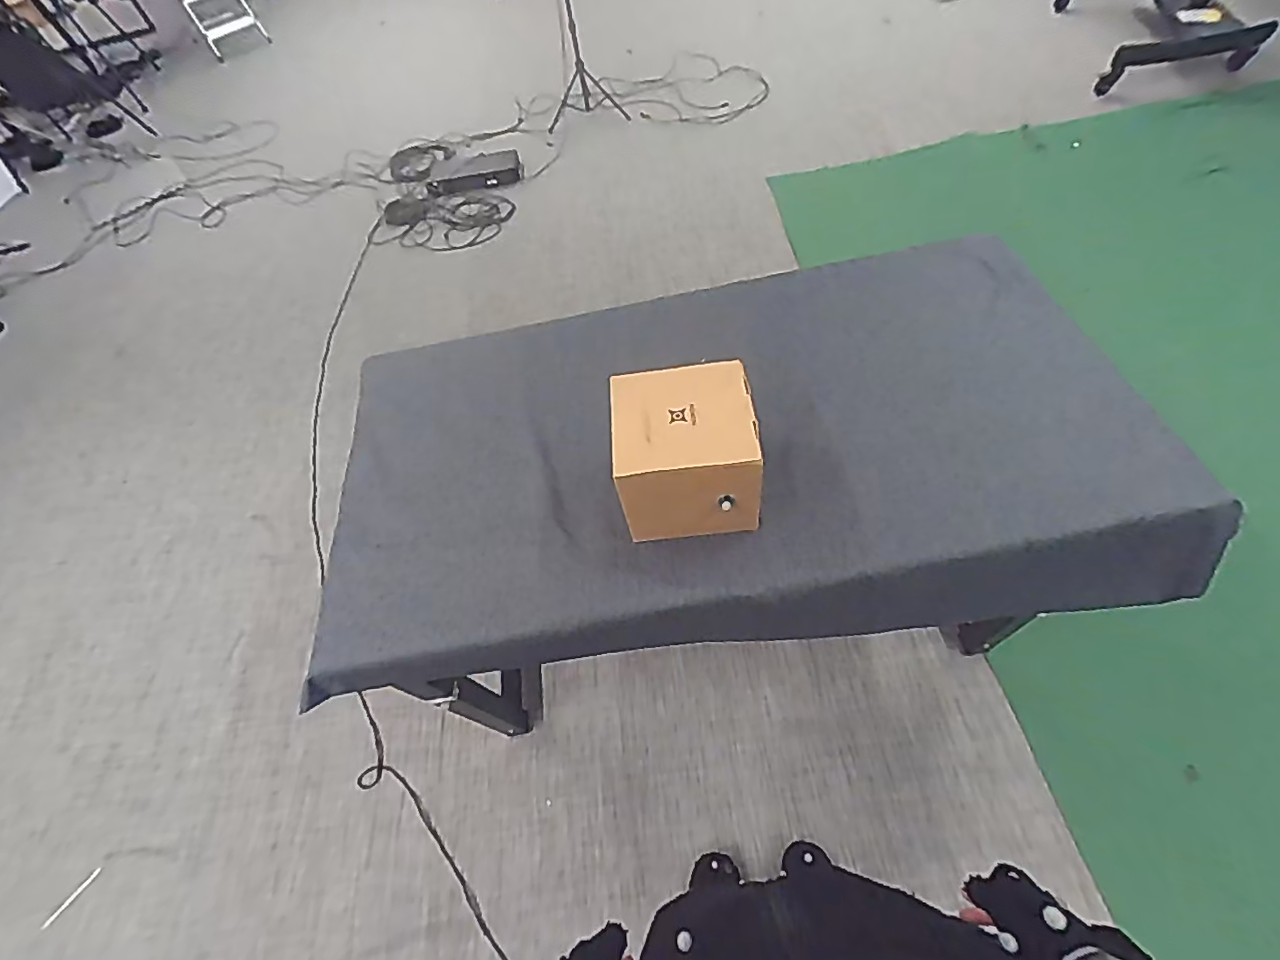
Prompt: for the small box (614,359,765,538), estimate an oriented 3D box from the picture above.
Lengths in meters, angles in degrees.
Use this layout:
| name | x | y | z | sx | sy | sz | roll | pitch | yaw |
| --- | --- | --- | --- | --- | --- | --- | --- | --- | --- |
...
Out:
| name | x | y | z | sx | sy | sz | roll | pitch | yaw |
| --- | --- | --- | --- | --- | --- | --- | --- | --- | --- |
| small box | 0.066 | -0.037 | 0.736 | 0.179 | 0.176 | 0.168 | -8 | 55 | 6 |
